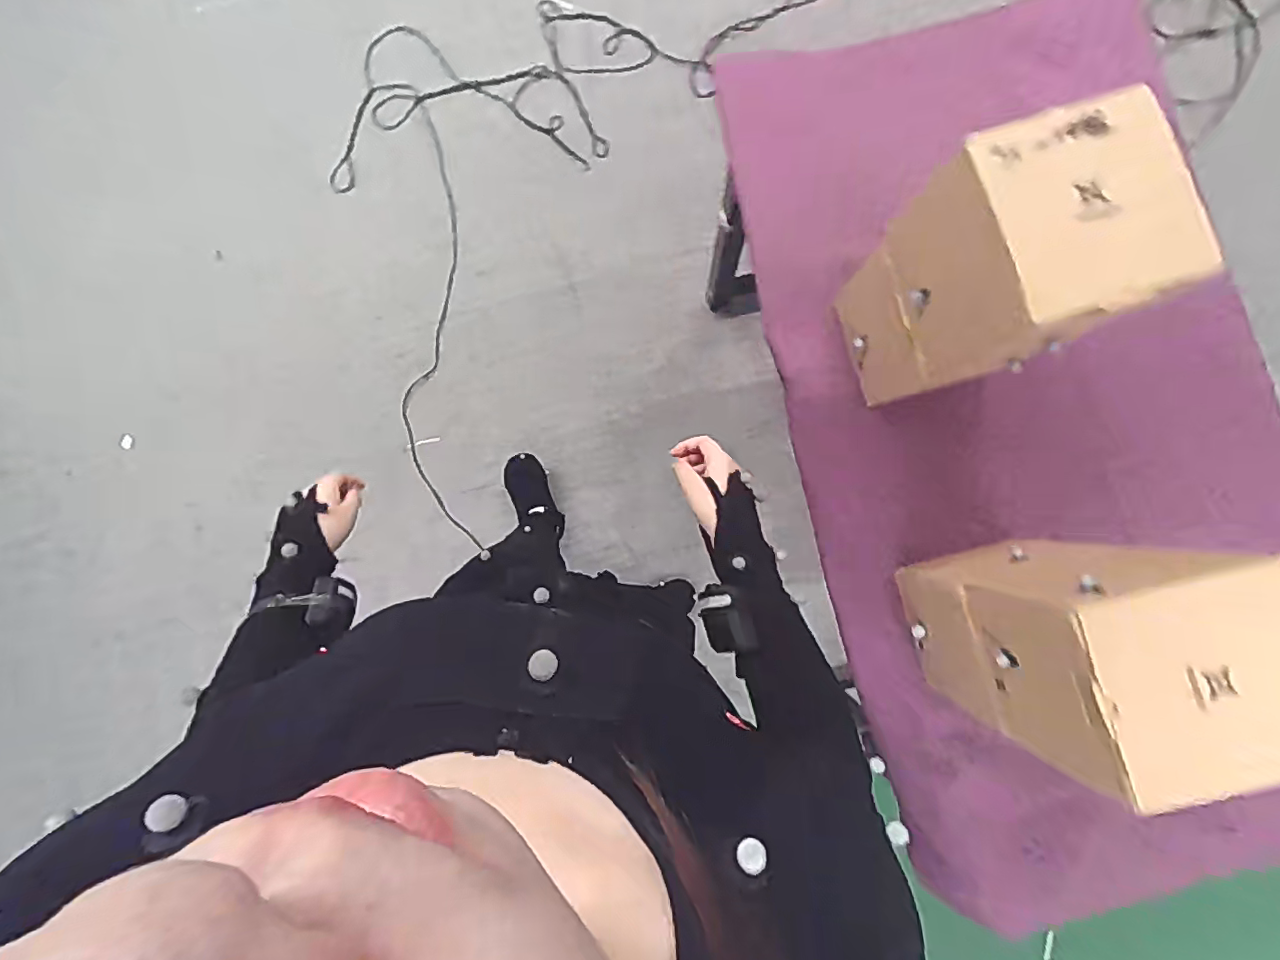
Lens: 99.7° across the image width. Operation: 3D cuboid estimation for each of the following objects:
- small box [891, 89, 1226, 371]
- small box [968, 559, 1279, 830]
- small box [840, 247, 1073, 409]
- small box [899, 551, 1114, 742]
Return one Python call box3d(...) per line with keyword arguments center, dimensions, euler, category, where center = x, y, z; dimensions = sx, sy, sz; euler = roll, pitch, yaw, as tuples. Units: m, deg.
box3d(center=(0.377, -0.217, 0.525), dimensions=(0.168, 0.176, 0.179), euler=(-16, 86, 0), category="small box")
box3d(center=(0.449, 0.173, 0.495), dimensions=(0.179, 0.176, 0.168), euler=(-15, 85, 2), category="small box")
box3d(center=(0.385, -0.203, 0.688), dimensions=(0.179, 0.176, 0.168), euler=(-16, 85, 0), category="small box")
box3d(center=(0.451, 0.186, 0.657), dimensions=(0.179, 0.176, 0.168), euler=(-14, 85, 2), category="small box")
